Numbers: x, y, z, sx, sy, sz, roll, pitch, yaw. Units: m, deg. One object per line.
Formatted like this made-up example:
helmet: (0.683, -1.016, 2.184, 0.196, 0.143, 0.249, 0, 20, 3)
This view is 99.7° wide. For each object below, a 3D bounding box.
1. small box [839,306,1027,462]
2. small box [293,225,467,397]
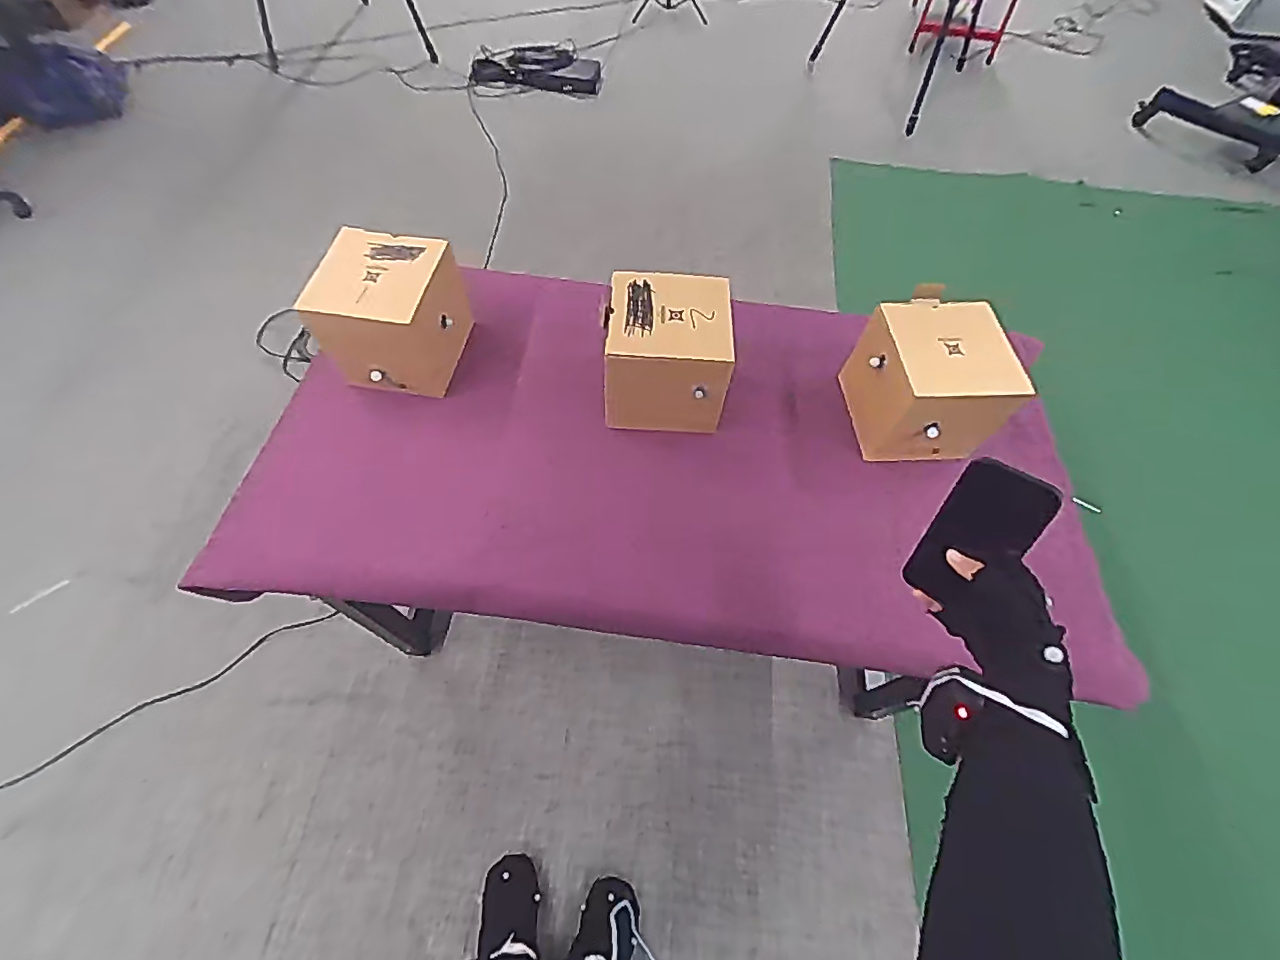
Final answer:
small box: (0.423, -0.137, 0.816, 0.168, 0.176, 0.179, -1, 60, -3)
small box: (-0.382, -0.256, 0.837, 0.168, 0.176, 0.179, 9, 62, 2)
